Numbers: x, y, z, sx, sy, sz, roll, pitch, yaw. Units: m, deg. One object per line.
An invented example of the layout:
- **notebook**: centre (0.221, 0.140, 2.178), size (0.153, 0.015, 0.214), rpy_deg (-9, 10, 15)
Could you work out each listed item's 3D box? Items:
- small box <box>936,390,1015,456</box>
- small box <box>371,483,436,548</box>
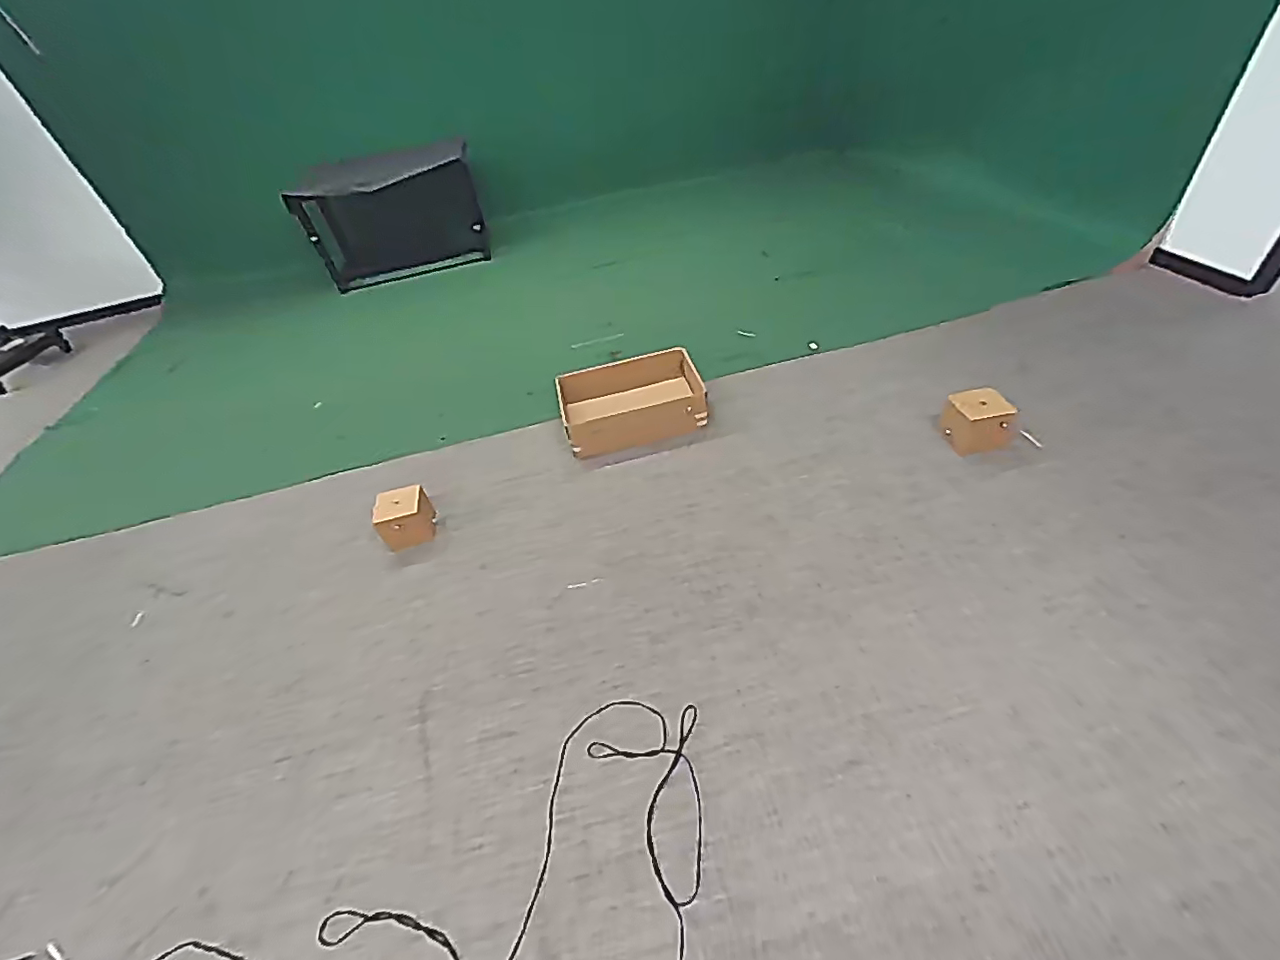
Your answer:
- **small box**: centre (1.258, -0.211, 2.040), size (0.179, 0.176, 0.168), rpy_deg (-11, 43, 1)
- **small box**: centre (-0.921, 0.144, 2.117), size (0.179, 0.176, 0.168), rpy_deg (-14, 45, -5)
